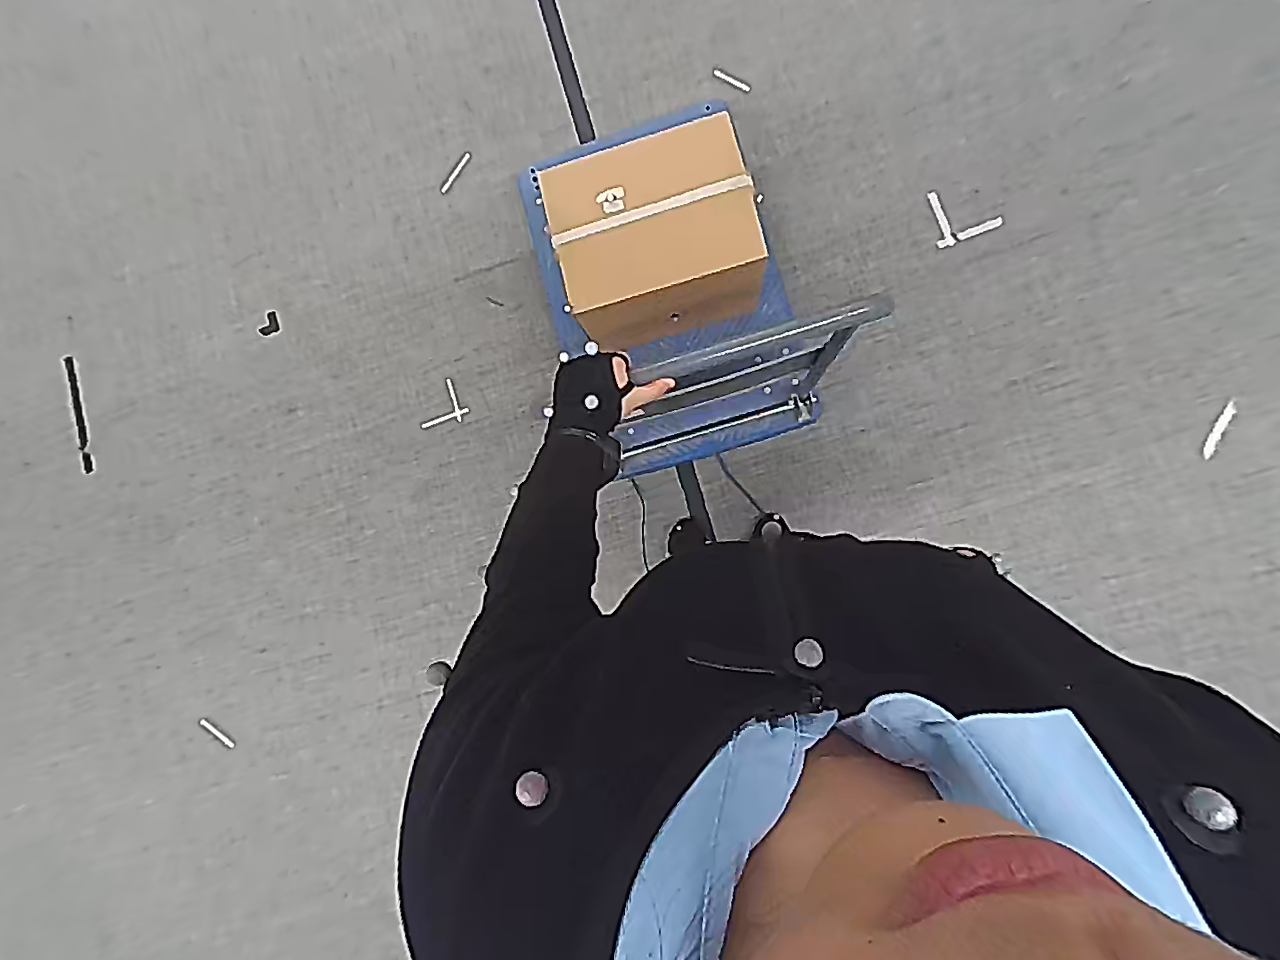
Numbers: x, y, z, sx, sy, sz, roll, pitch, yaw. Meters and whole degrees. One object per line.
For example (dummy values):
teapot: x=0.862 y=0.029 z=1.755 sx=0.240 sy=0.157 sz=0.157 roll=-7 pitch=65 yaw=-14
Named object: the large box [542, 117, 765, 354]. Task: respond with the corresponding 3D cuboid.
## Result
large box: x=0.041 y=-0.524 z=1.241 sx=0.408 sy=0.320 sz=0.320 roll=-15 pitch=84 yaw=7
